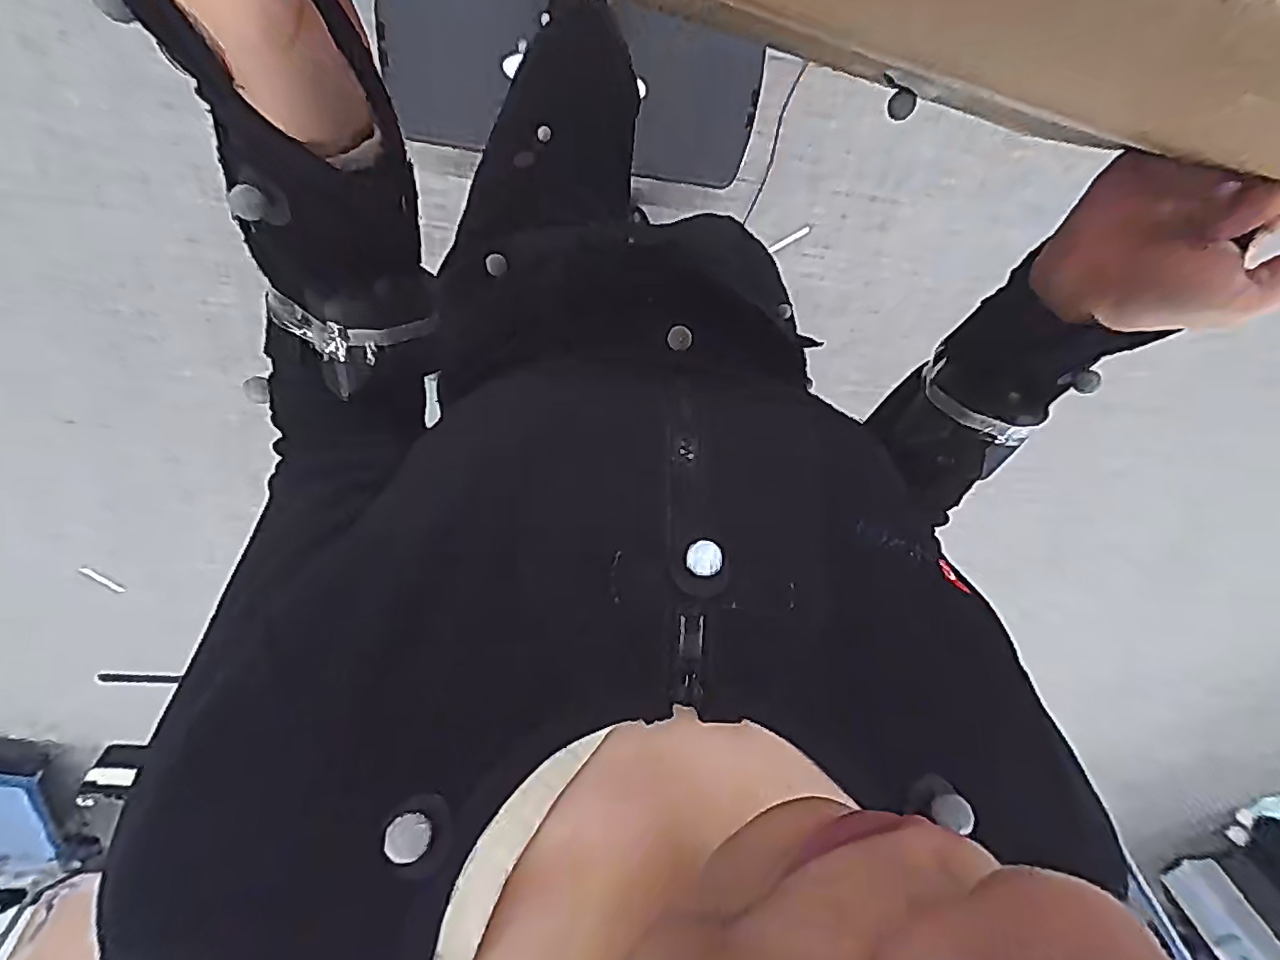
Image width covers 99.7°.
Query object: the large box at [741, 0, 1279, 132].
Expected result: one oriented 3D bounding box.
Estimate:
[{"bbox_3d":[0.101,-0.298,0.098,0.408,0.320,0.320,8,128,-11],"label":"large box"}]
